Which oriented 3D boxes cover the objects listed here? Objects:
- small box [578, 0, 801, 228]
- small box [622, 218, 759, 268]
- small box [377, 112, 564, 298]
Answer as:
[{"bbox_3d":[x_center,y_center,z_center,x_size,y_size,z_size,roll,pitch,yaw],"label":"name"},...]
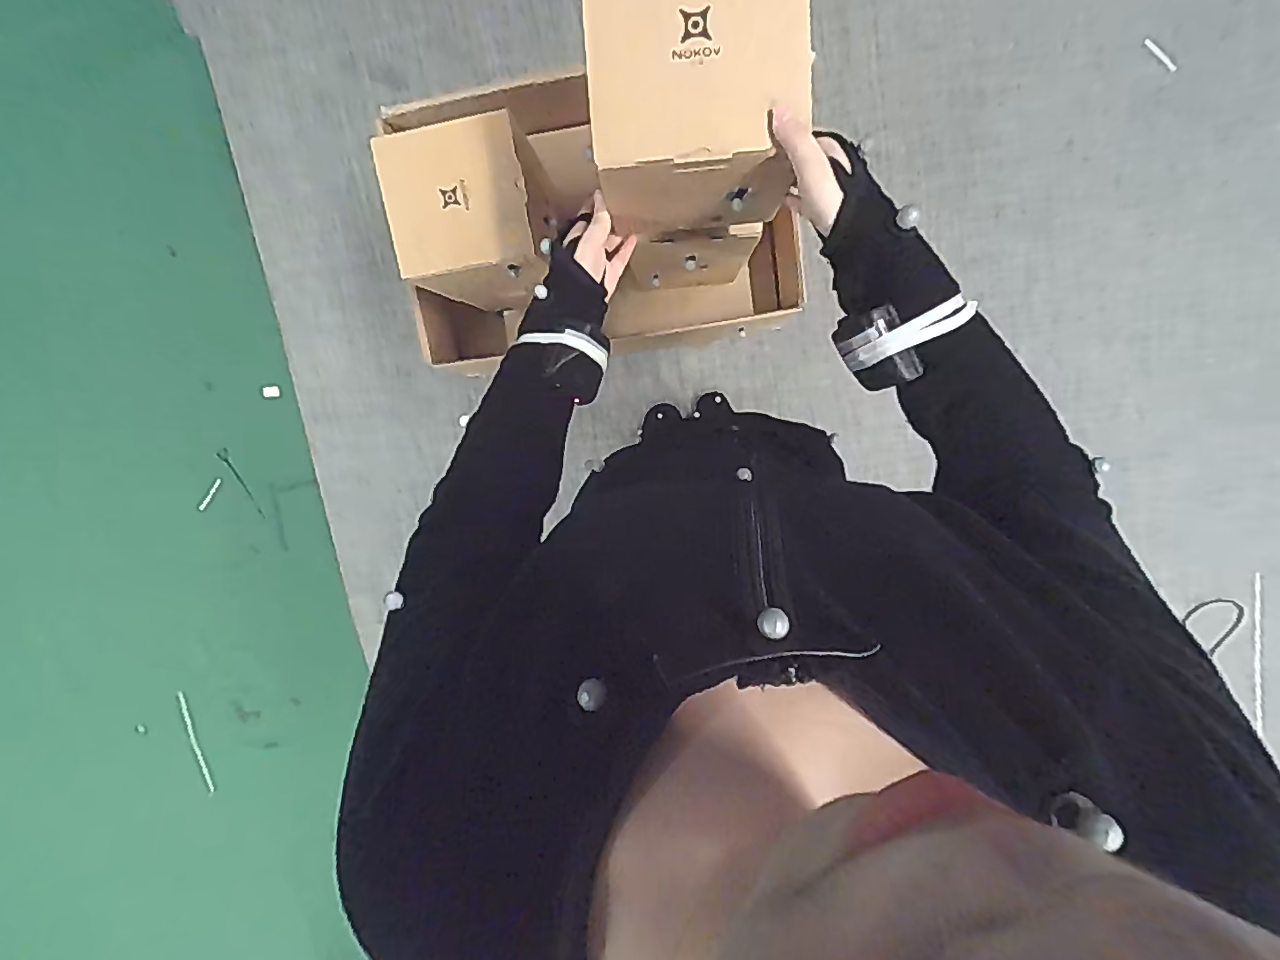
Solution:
[{"bbox_3d":[0.042,-0.338,0.479,0.168,0.176,0.179,-3,97,4],"label":"small box"},{"bbox_3d":[0.064,-0.382,0.705,0.168,0.176,0.179,-2,100,5],"label":"small box"},{"bbox_3d":[-0.216,-0.356,0.735,0.179,0.176,0.168,-9,99,5],"label":"small box"}]
